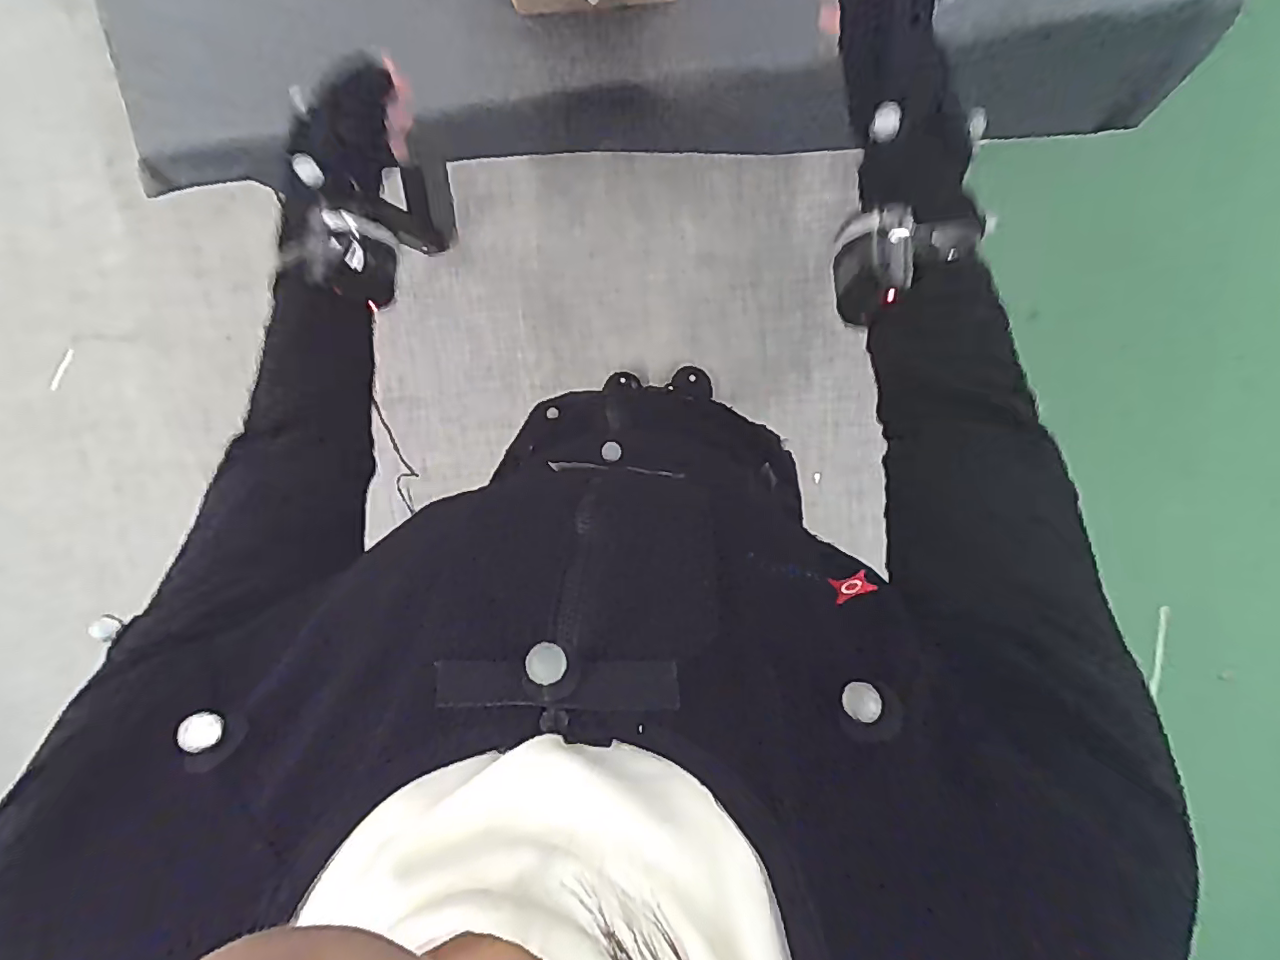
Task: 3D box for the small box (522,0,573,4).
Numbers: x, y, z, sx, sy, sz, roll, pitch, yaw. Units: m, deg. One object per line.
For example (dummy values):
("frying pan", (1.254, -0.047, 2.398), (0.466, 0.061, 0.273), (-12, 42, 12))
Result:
("small box", (-0.054, -0.580, 0.488), (0.179, 0.176, 0.168), (-2, 102, 3))
